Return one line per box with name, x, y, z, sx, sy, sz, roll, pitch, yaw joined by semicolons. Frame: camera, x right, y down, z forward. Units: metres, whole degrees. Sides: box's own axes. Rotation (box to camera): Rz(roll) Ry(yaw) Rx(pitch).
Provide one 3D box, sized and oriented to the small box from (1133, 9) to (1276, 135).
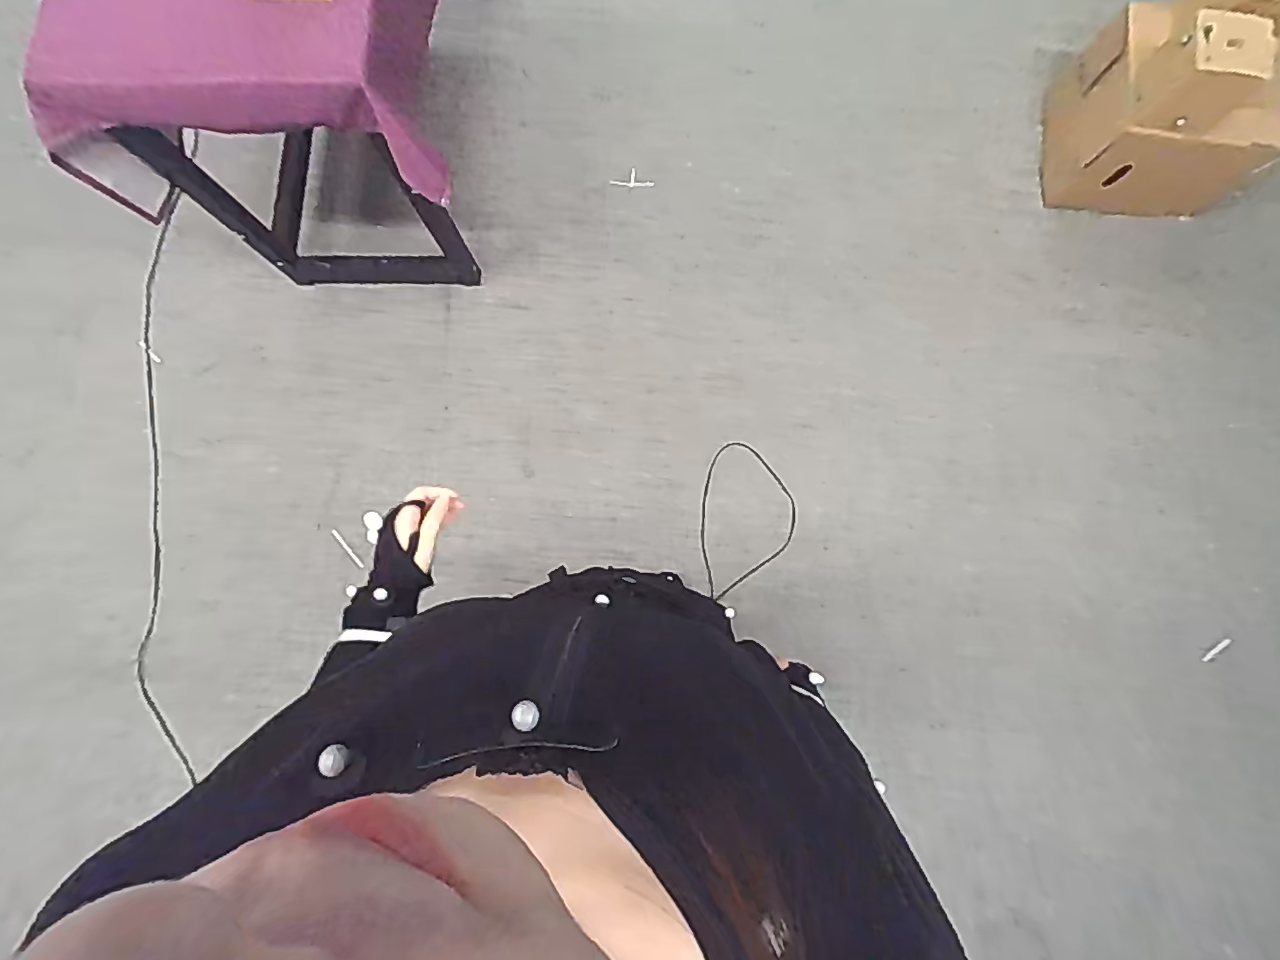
small box;1.360;-0.977;1.309;0.179;0.176;0.168;10;81;1
